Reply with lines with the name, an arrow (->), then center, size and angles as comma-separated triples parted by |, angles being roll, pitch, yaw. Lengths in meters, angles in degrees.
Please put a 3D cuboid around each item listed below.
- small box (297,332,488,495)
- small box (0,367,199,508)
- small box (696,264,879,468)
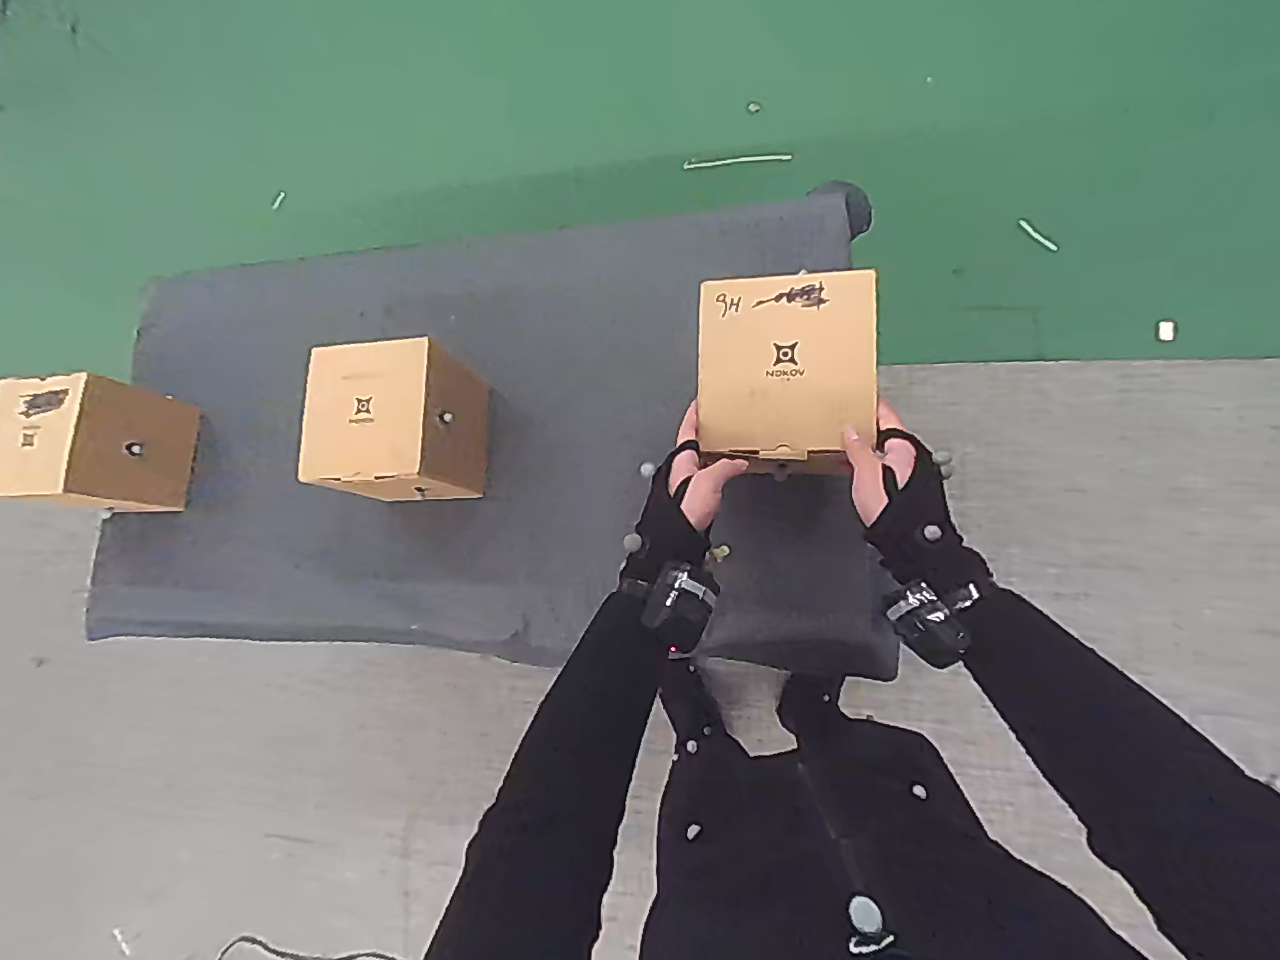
small box -> -0.319, -0.076, 0.729 | 0.168, 0.176, 0.179 | -2, 78, 10
small box -> -0.827, -0.056, 0.825 | 0.168, 0.176, 0.179 | -2, 79, 11
small box -> 0.155, -0.106, 0.583 | 0.168, 0.176, 0.179 | 1, 85, 13
